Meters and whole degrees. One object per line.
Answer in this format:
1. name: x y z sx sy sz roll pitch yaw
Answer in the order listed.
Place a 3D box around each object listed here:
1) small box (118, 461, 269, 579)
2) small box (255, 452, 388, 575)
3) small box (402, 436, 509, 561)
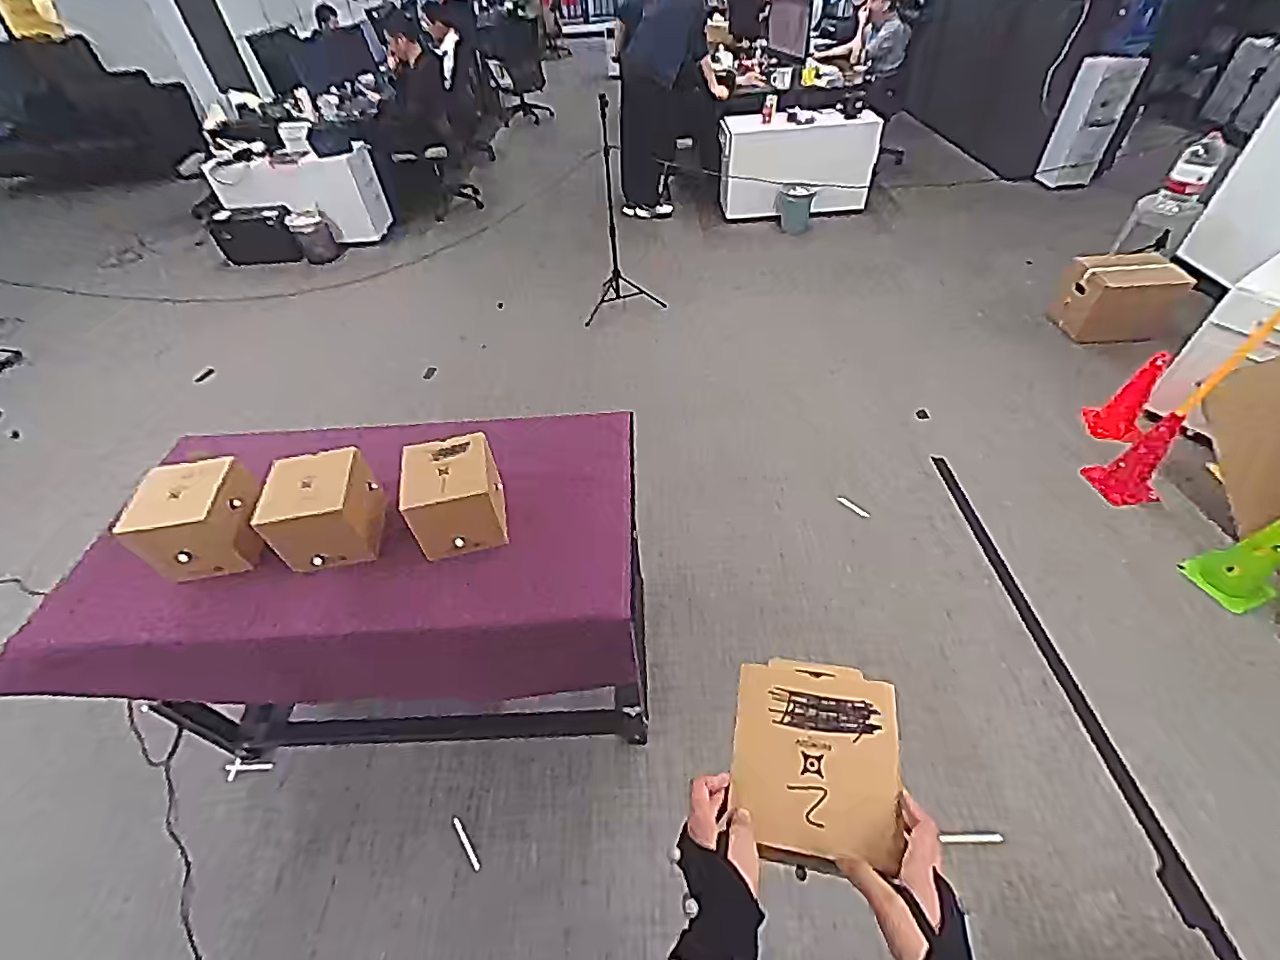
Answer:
1. small box: -0.893 0.089 1.115 0.168 0.176 0.179 -9 46 -5
2. small box: -0.641 0.069 1.116 0.168 0.176 0.179 -10 46 -5
3. small box: -0.375 0.039 1.120 0.168 0.176 0.179 -13 47 -7
